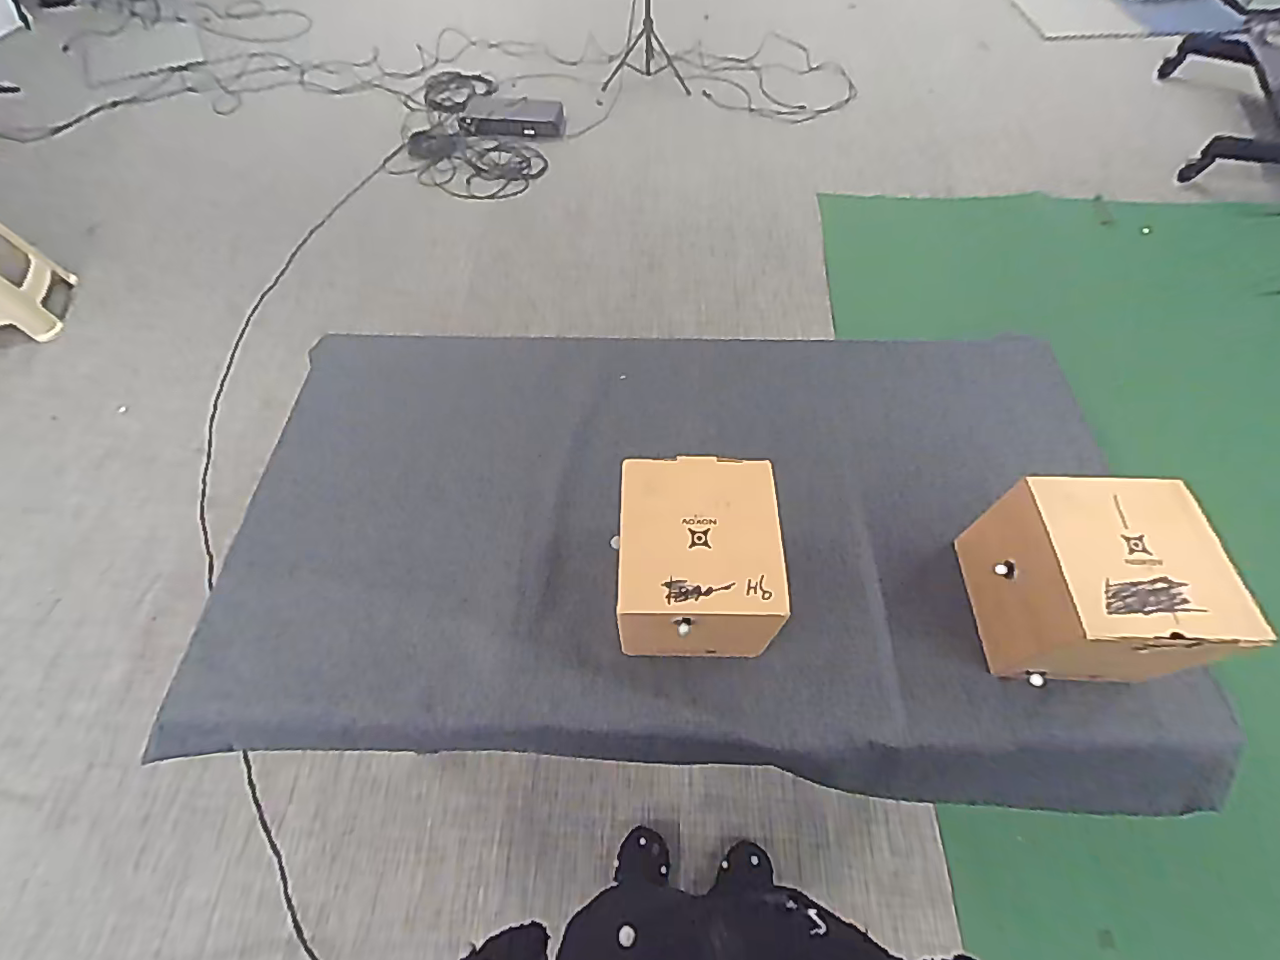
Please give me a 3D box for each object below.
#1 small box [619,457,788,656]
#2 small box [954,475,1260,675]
[{"bbox_3d":[0.063,0.092,0.627,0.168,0.176,0.179,1,59,1],"label":"small box"},{"bbox_3d":[0.489,0.112,0.606,0.168,0.176,0.179,1,58,3],"label":"small box"}]
